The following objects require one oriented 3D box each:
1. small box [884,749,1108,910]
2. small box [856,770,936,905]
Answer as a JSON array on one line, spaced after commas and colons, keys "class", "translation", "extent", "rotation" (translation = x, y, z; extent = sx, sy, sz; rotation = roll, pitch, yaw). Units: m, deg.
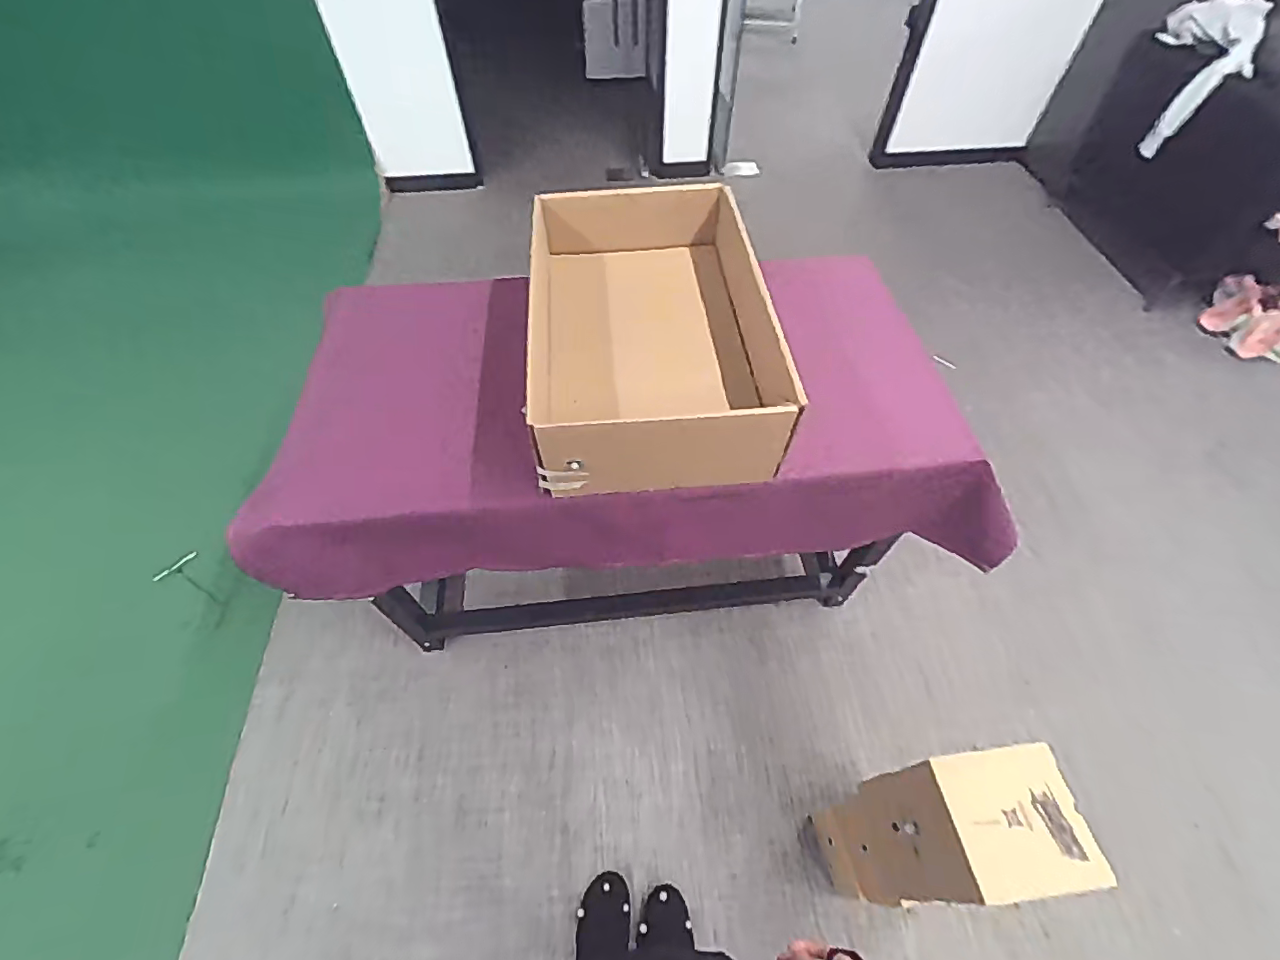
[{"class": "small box", "translation": [0.485, 0.495, 0.771], "extent": [0.179, 0.176, 0.168], "rotation": [-5, 54, -3]}, {"class": "small box", "translation": [0.485, 0.592, 0.903], "extent": [0.168, 0.176, 0.179], "rotation": [-4, 54, -3]}]
